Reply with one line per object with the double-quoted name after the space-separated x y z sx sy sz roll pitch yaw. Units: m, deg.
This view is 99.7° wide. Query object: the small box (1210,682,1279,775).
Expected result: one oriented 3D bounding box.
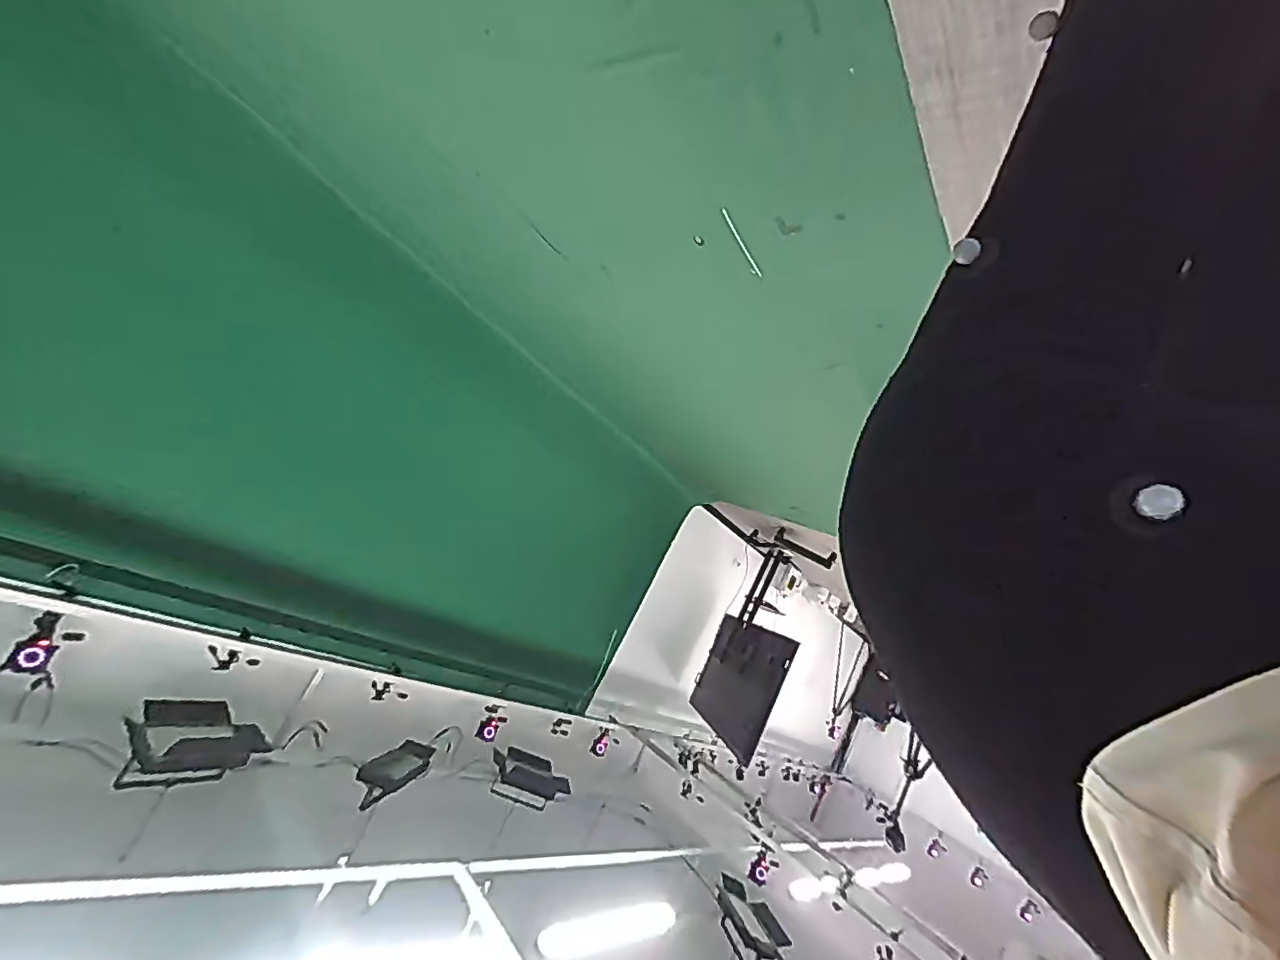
1.575 0.628 1.355 0.168 0.176 0.179 17 166 47 "small box"
